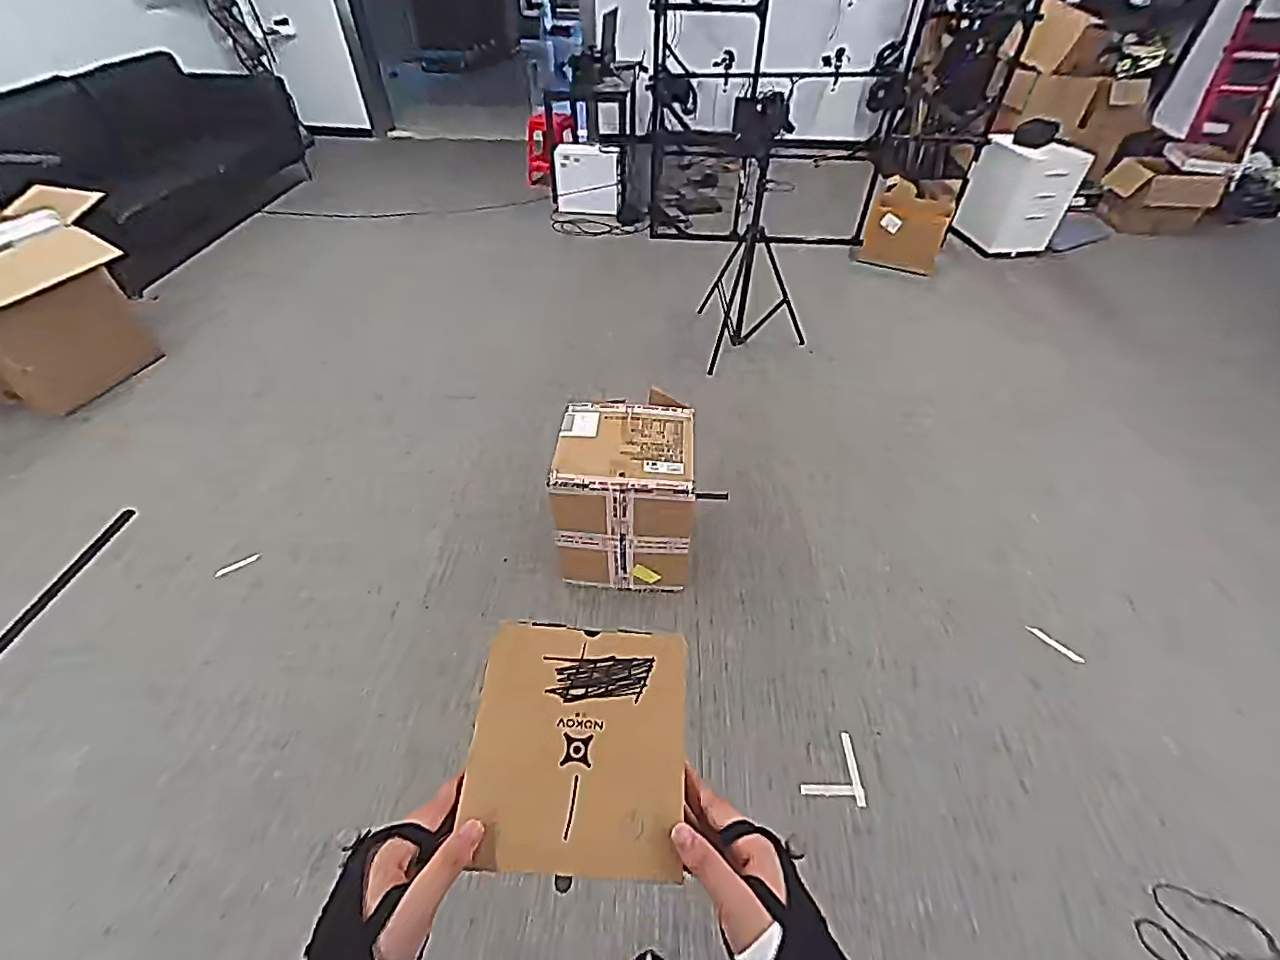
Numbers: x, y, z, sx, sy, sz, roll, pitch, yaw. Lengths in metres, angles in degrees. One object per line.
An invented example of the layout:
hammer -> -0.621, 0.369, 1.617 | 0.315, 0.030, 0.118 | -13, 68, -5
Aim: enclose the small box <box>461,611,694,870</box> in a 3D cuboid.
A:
small box -> -0.045, 0.237, 0.492 | 0.168, 0.176, 0.179 | 5, 57, -1
